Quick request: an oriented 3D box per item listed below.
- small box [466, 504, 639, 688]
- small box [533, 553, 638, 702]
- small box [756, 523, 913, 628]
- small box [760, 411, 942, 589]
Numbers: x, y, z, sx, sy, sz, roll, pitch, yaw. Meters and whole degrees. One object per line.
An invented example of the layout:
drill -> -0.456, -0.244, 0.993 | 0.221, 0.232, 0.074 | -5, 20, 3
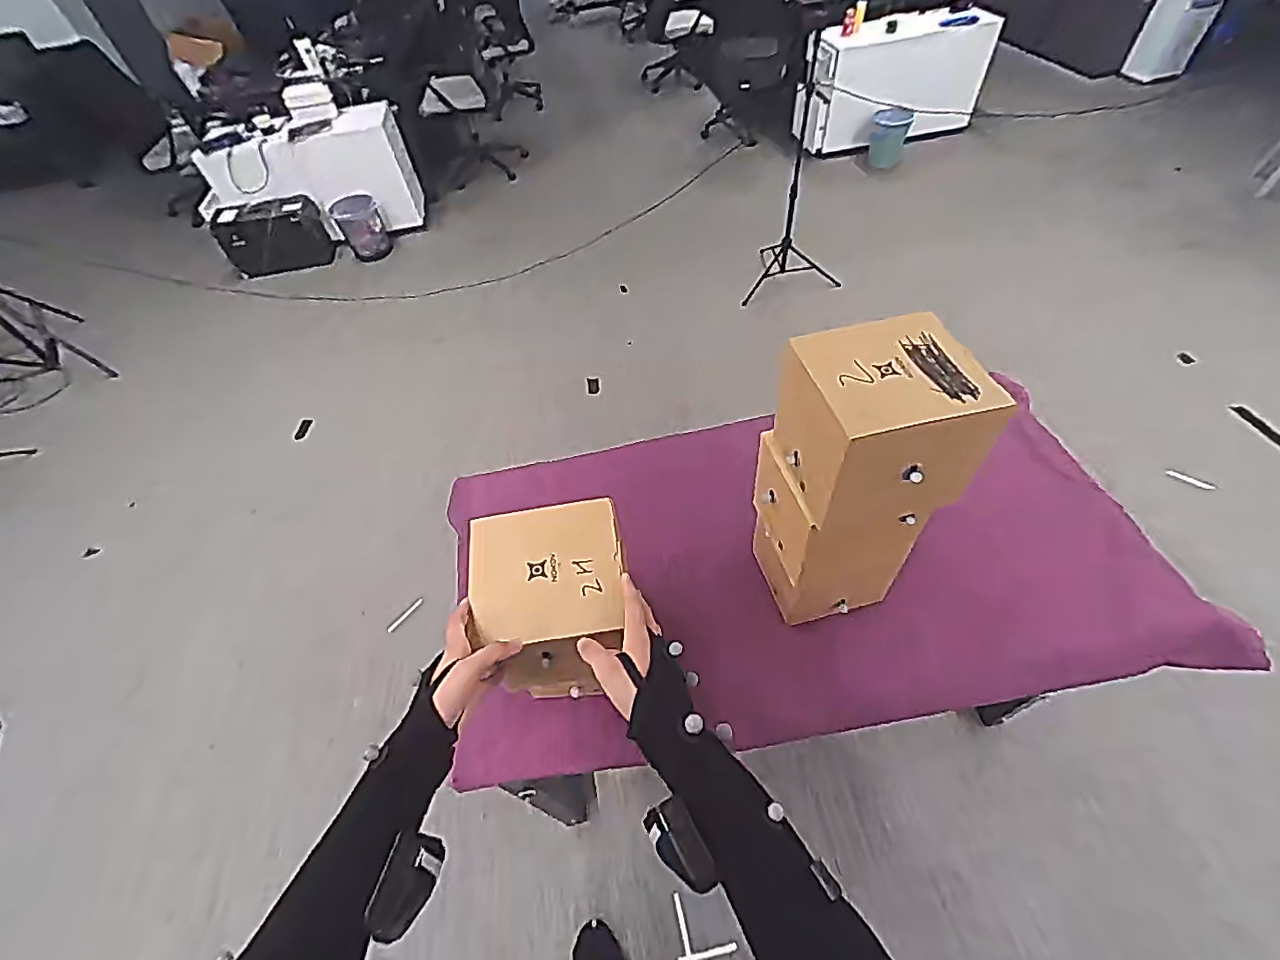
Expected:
small box -> -0.100, 0.151, 0.676 | 0.179, 0.176, 0.168 | -8, 57, -1
small box -> -0.093, 0.233, 0.853 | 0.168, 0.176, 0.179 | -4, 52, 3
small box -> 0.308, 0.122, 0.900 | 0.179, 0.176, 0.168 | -13, 50, -5
small box -> 0.278, 0.033, 0.765 | 0.179, 0.176, 0.168 | -13, 51, -5
